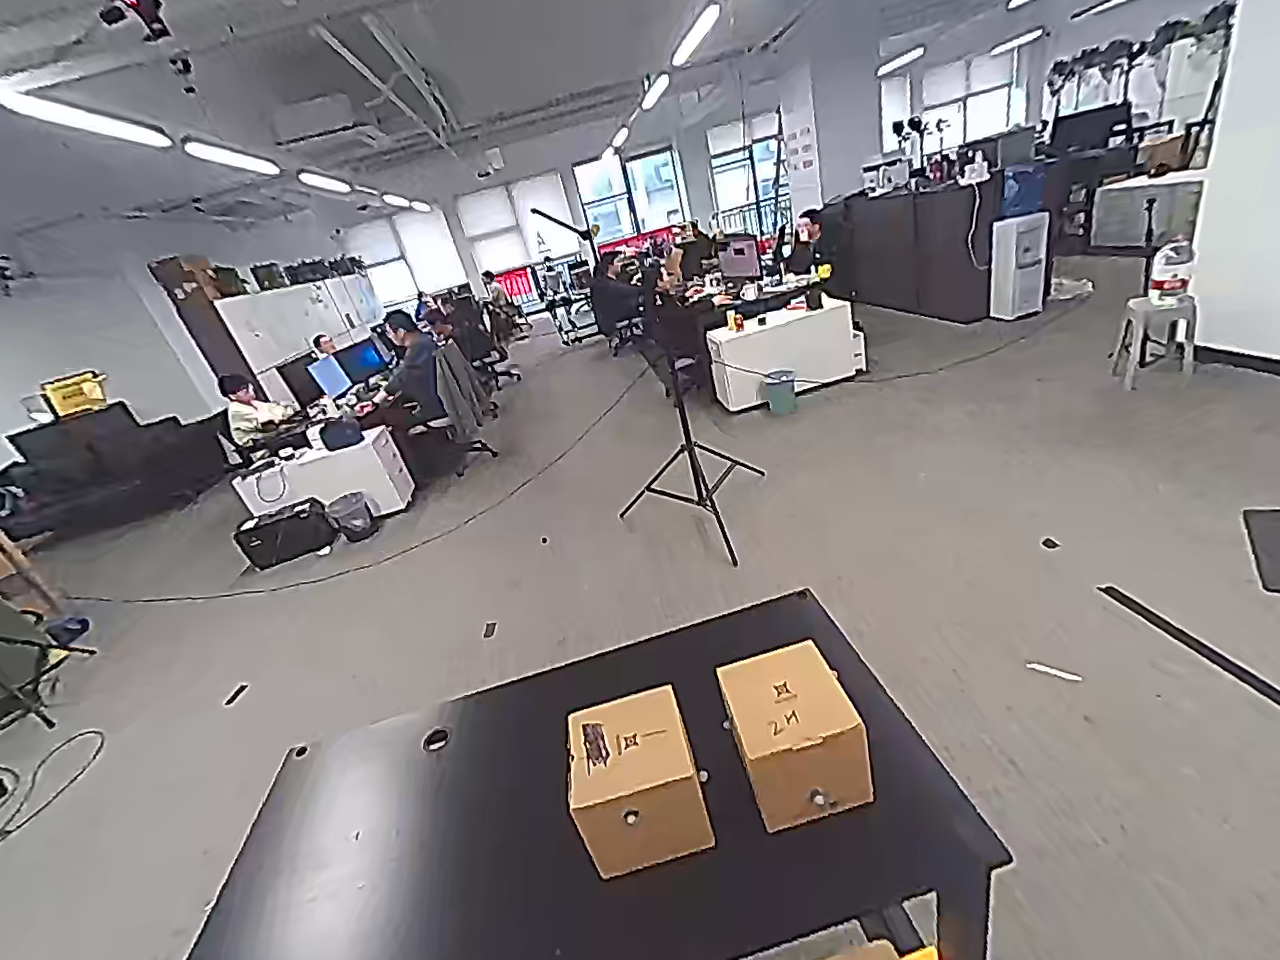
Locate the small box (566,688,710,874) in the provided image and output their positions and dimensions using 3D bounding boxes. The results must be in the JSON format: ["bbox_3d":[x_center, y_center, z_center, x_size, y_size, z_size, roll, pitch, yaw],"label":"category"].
[{"bbox_3d":[-0.006,0.461,0.833,0.179,0.176,0.168,-15,25,-1],"label":"small box"}]

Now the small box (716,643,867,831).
[{"bbox_3d":[0.229,0.392,0.837,0.168,0.176,0.179,-17,25,0],"label":"small box"}]
